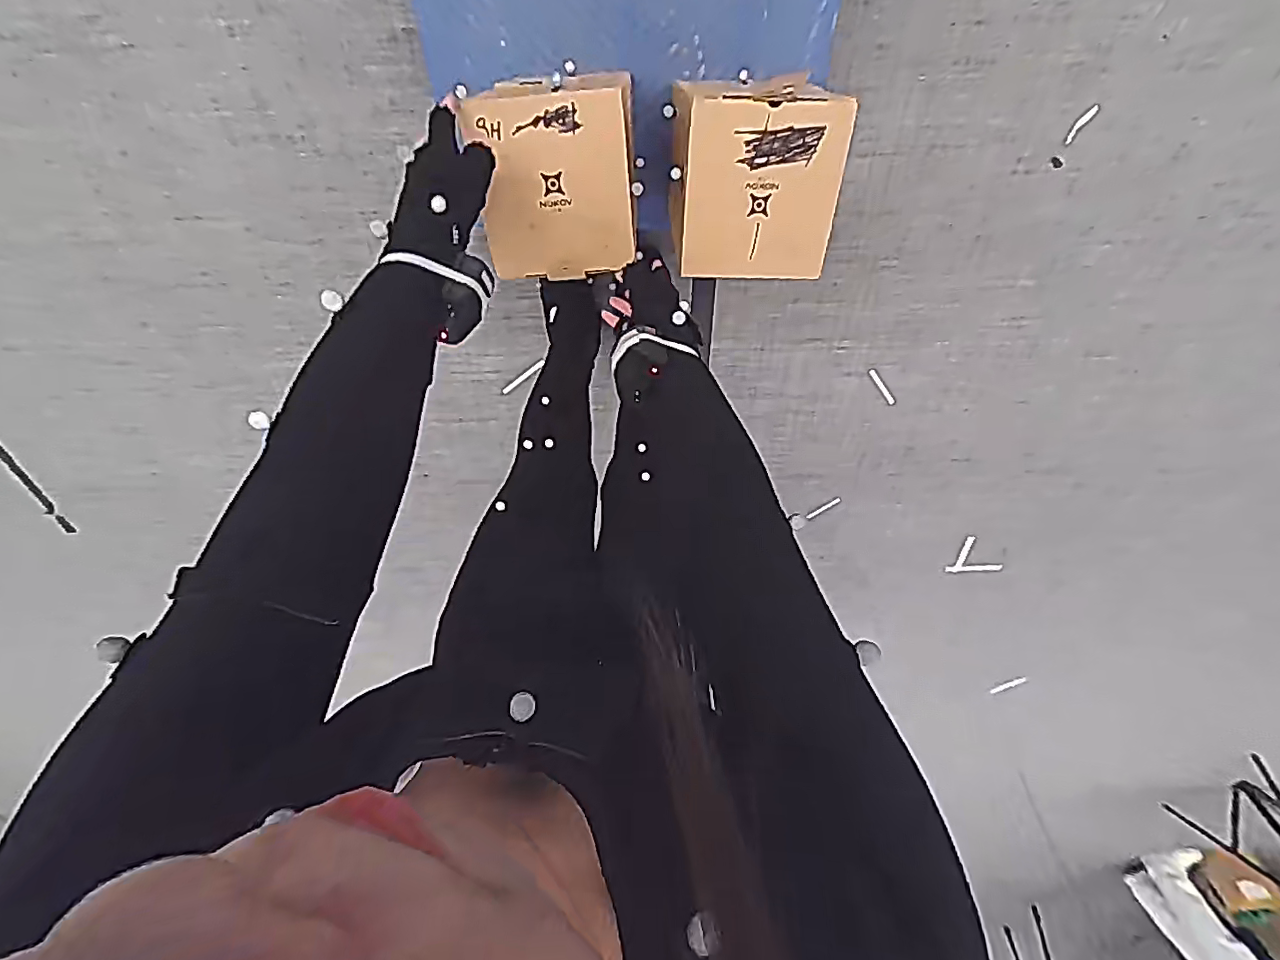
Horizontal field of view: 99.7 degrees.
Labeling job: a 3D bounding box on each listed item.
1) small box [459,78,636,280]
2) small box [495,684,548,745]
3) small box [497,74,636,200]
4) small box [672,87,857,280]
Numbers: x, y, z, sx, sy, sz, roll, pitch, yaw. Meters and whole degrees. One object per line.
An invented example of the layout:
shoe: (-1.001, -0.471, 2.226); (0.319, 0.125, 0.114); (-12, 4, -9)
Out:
small box: (-0.092, -0.357, 0.640); (0.168, 0.176, 0.179); (-3, 130, 2)
small box: (-0.463, 0.928, 2.144); (0.179, 0.176, 0.168); (2, 129, 0)
small box: (-0.091, -0.462, 0.768); (0.168, 0.176, 0.179); (-2, 128, 1)
small box: (0.129, -0.354, 0.641); (0.168, 0.176, 0.179); (1, 129, -2)
